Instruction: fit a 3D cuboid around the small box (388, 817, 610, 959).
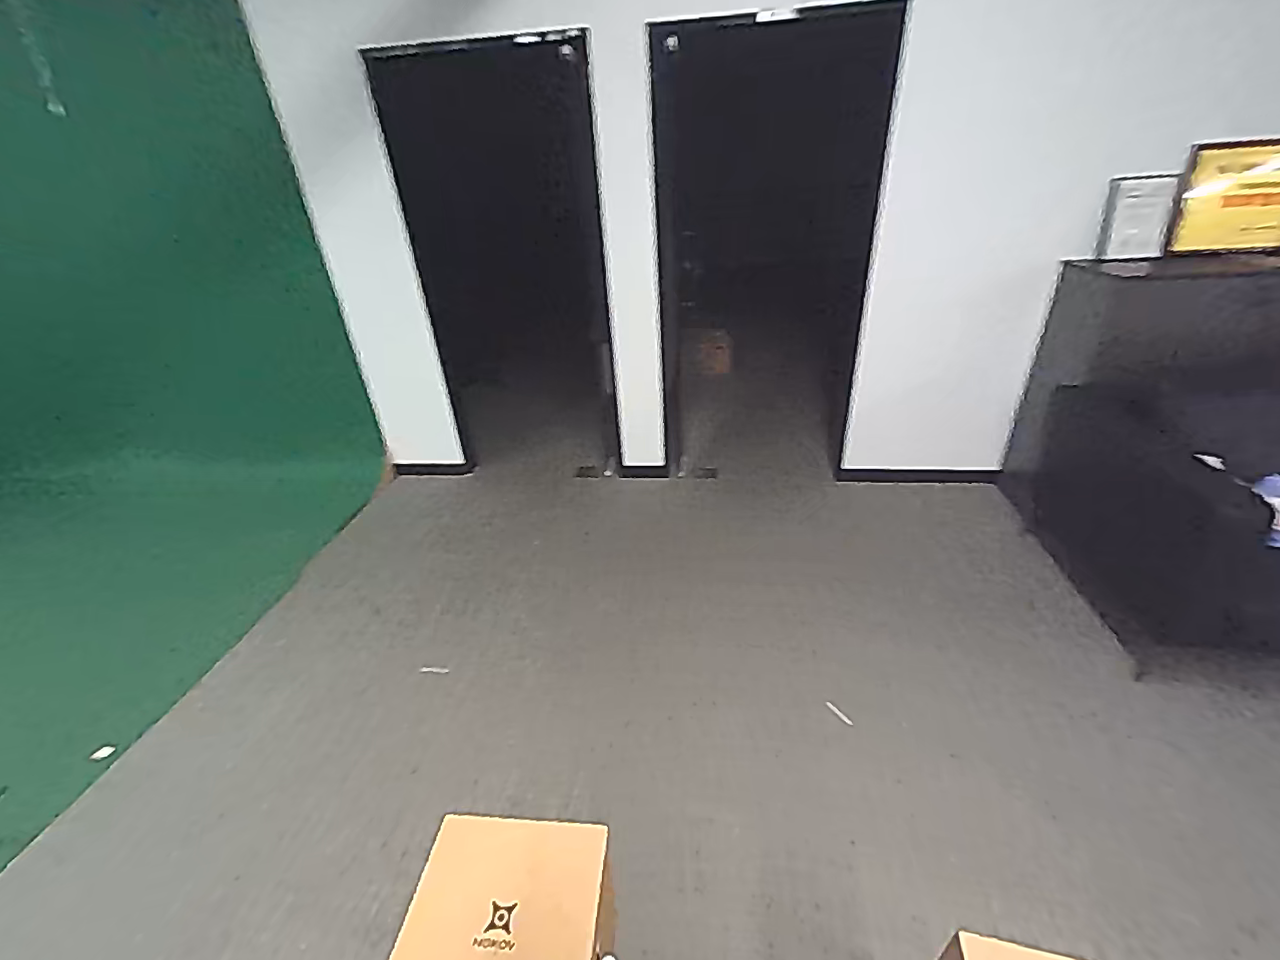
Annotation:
[{"bbox_3d":[-0.119,0.448,0.492,0.168,0.176,0.179,1,29,5],"label":"small box"}]
